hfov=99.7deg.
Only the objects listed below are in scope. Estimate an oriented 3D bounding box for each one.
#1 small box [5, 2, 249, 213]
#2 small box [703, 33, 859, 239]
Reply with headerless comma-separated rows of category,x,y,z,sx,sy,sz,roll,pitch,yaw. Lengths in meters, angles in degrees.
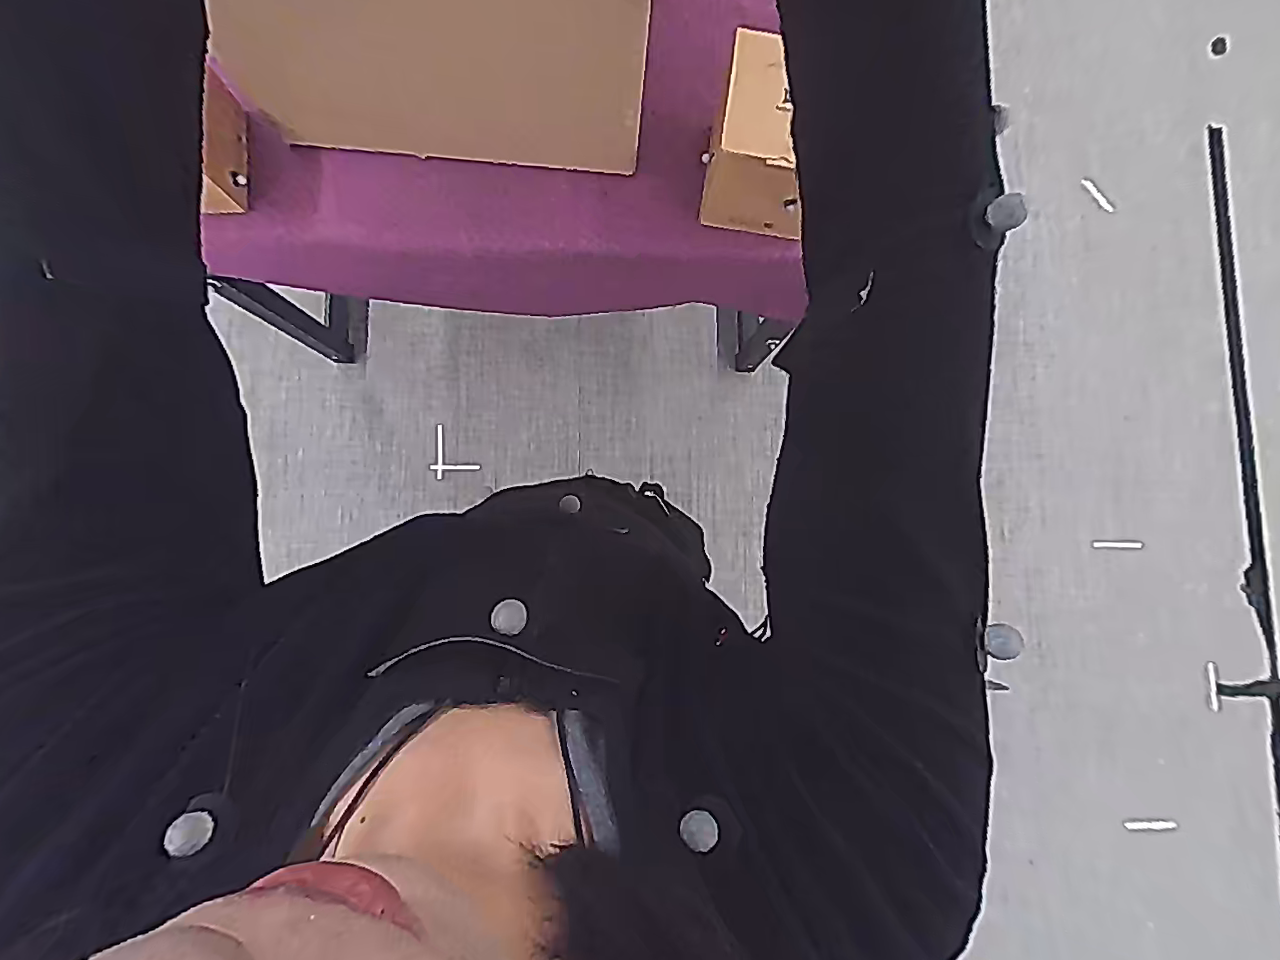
small box,-0.657,-0.477,0.716,0.179,0.176,0.168,-4,84,-5
small box,0.191,-0.477,0.777,0.168,0.176,0.179,8,83,-4
